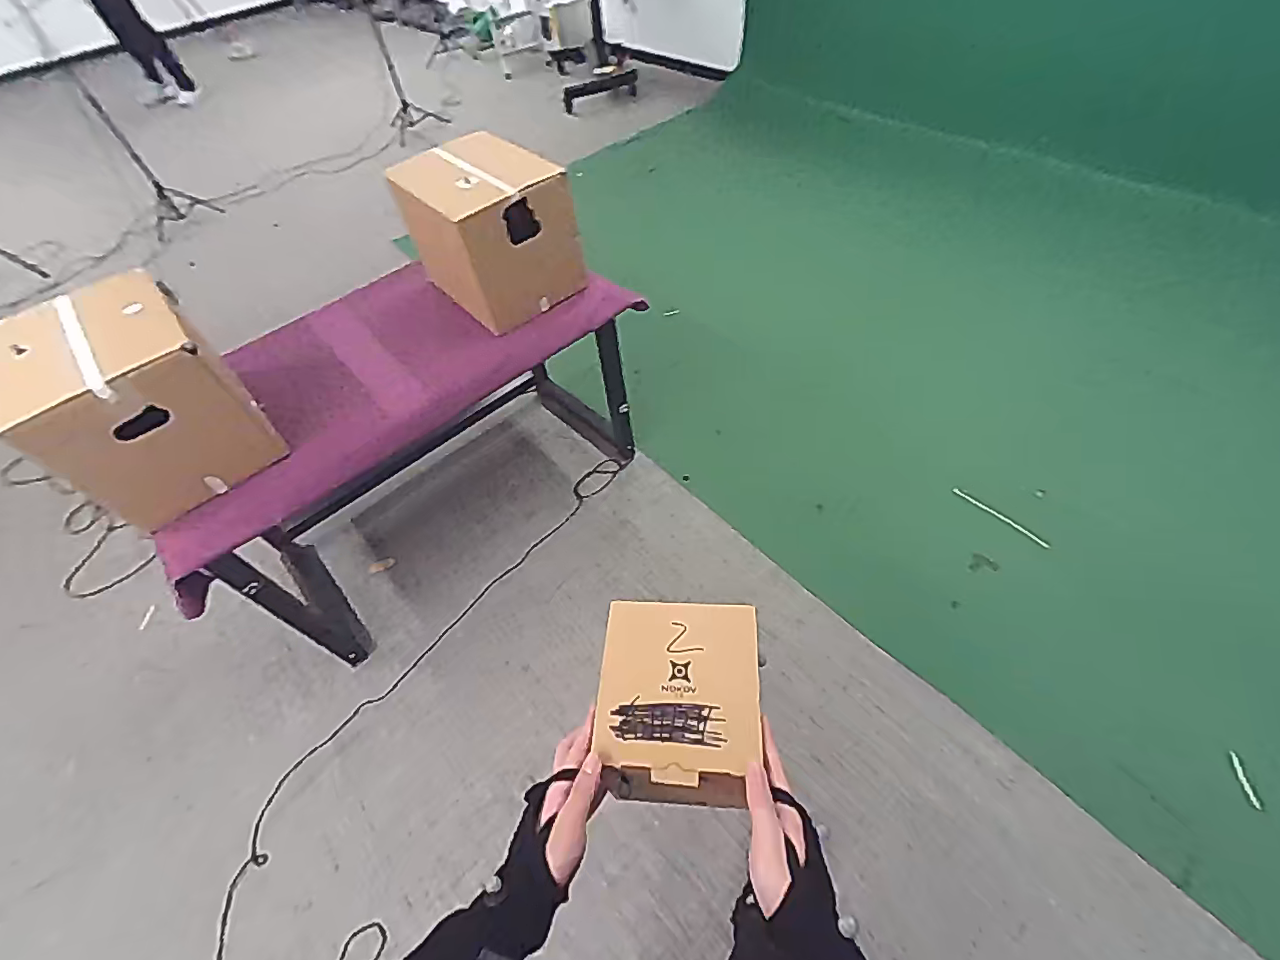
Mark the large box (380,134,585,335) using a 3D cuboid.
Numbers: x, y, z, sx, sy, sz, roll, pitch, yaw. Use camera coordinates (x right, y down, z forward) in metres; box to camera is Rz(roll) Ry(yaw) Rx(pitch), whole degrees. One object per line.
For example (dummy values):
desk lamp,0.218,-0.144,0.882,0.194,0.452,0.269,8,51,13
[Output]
large box,-0.403,-0.657,1.439,0.320,0.320,0.408,-38,59,-20
